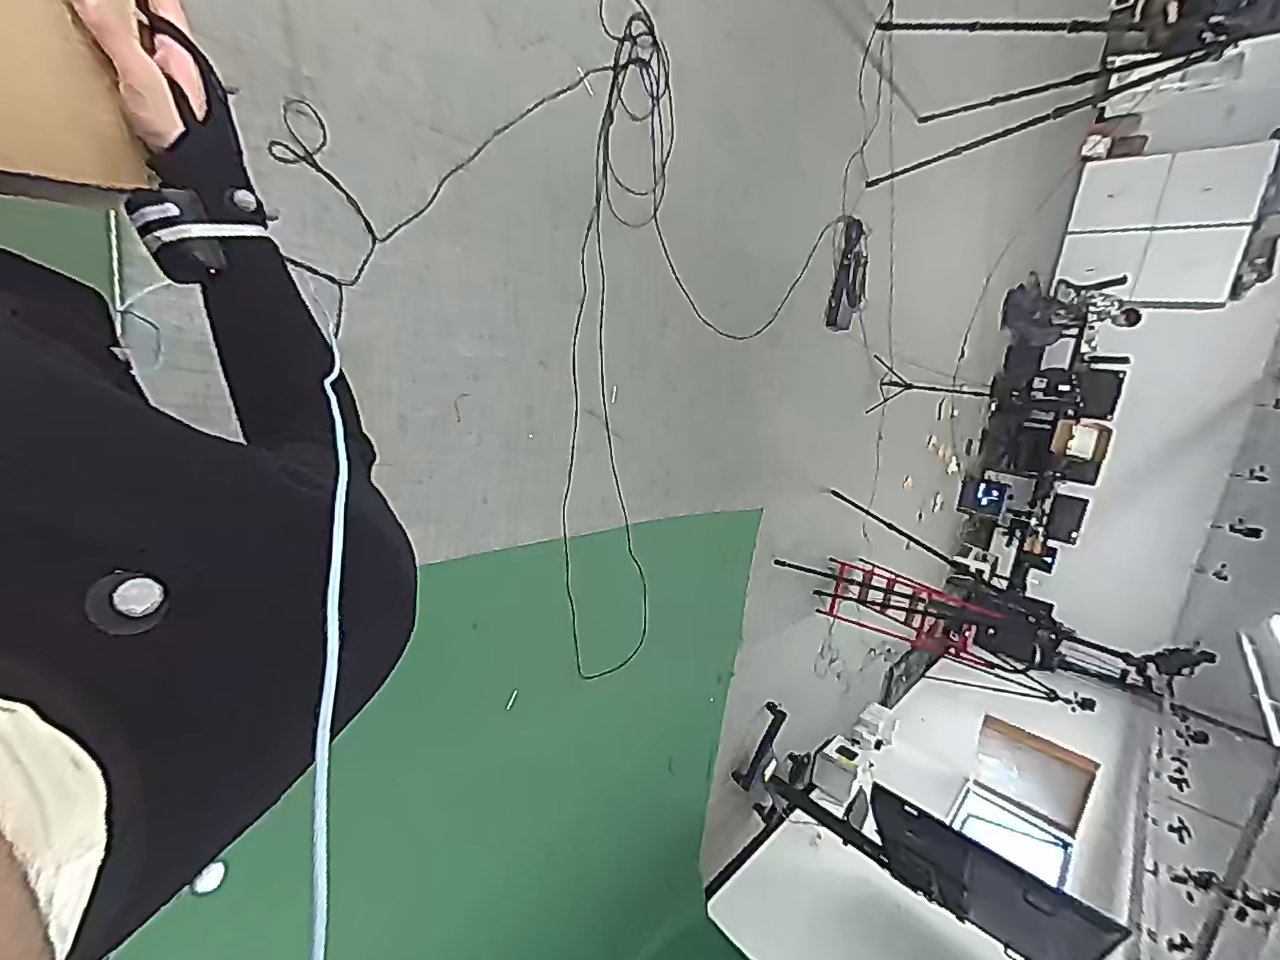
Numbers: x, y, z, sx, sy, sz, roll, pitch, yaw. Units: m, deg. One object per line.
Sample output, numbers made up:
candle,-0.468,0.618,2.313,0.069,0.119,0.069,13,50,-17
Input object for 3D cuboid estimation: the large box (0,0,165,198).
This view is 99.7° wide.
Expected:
large box,-0.615,-0.390,0.340,0.408,0.320,0.320,-14,117,-46
